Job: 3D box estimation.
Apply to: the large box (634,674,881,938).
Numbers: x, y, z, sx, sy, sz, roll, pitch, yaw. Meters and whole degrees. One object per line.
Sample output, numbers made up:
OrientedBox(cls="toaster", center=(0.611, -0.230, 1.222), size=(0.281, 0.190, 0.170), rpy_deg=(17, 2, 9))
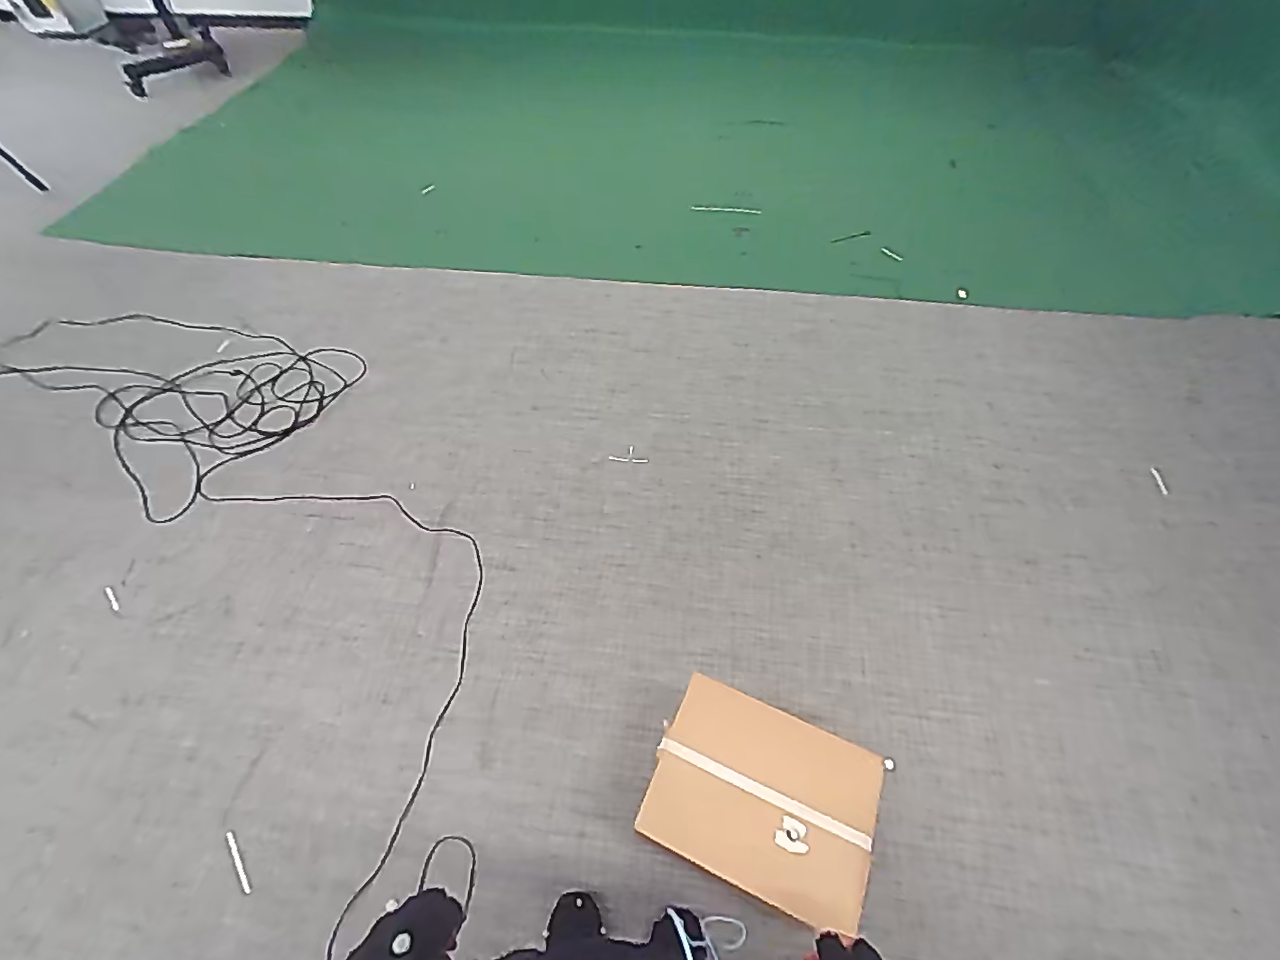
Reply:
OrientedBox(cls="large box", center=(0.229, 0.675, 1.144), size=(0.408, 0.320, 0.320), rpy_deg=(21, 57, 13))
